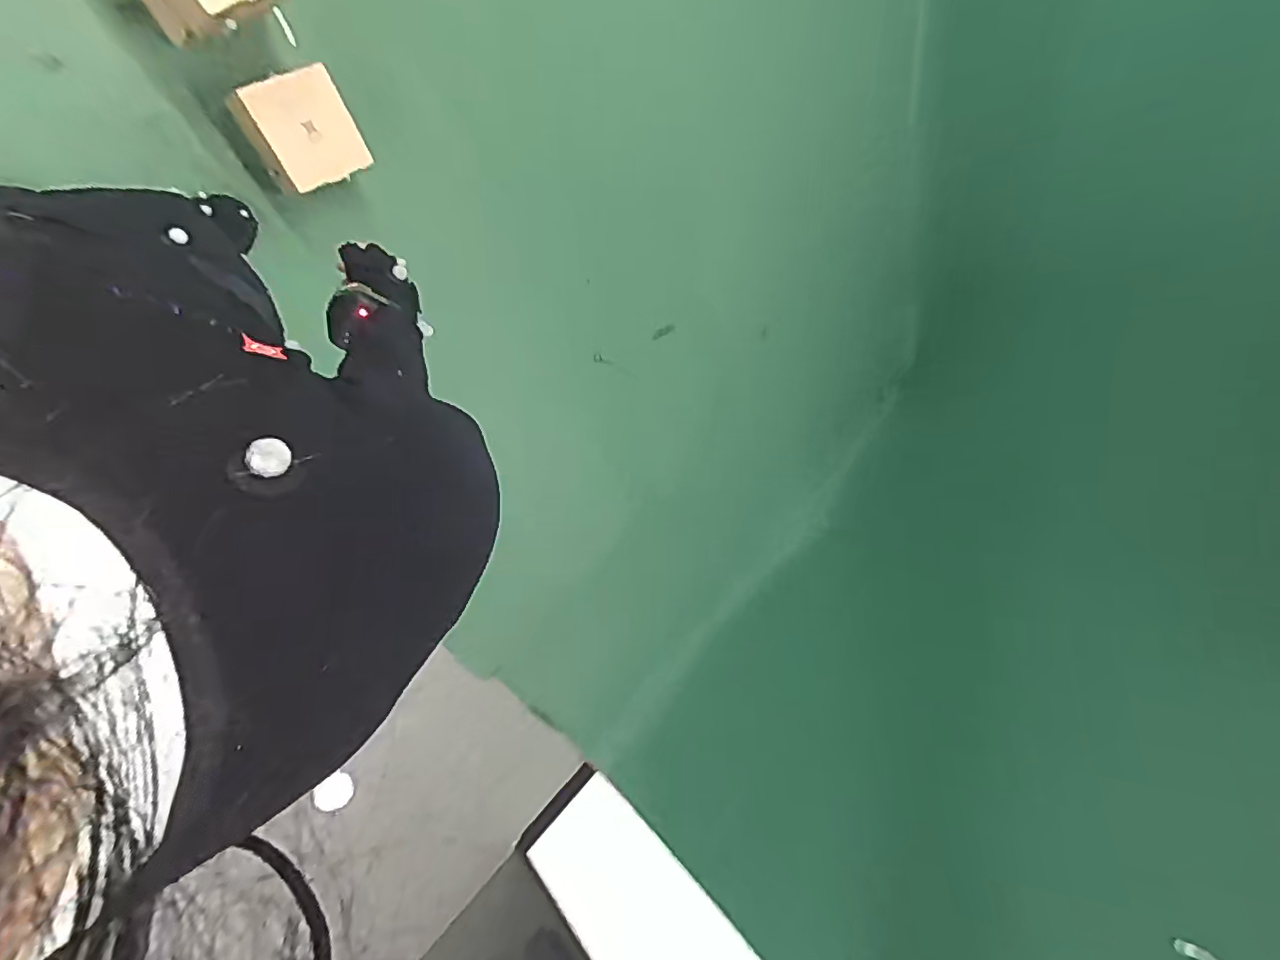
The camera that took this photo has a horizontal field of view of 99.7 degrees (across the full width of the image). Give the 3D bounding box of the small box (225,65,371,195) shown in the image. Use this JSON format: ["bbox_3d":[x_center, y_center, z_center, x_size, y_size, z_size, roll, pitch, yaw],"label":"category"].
[{"bbox_3d":[-0.681,-0.691,1.080,0.168,0.176,0.179,-40,132,-23],"label":"small box"}]
